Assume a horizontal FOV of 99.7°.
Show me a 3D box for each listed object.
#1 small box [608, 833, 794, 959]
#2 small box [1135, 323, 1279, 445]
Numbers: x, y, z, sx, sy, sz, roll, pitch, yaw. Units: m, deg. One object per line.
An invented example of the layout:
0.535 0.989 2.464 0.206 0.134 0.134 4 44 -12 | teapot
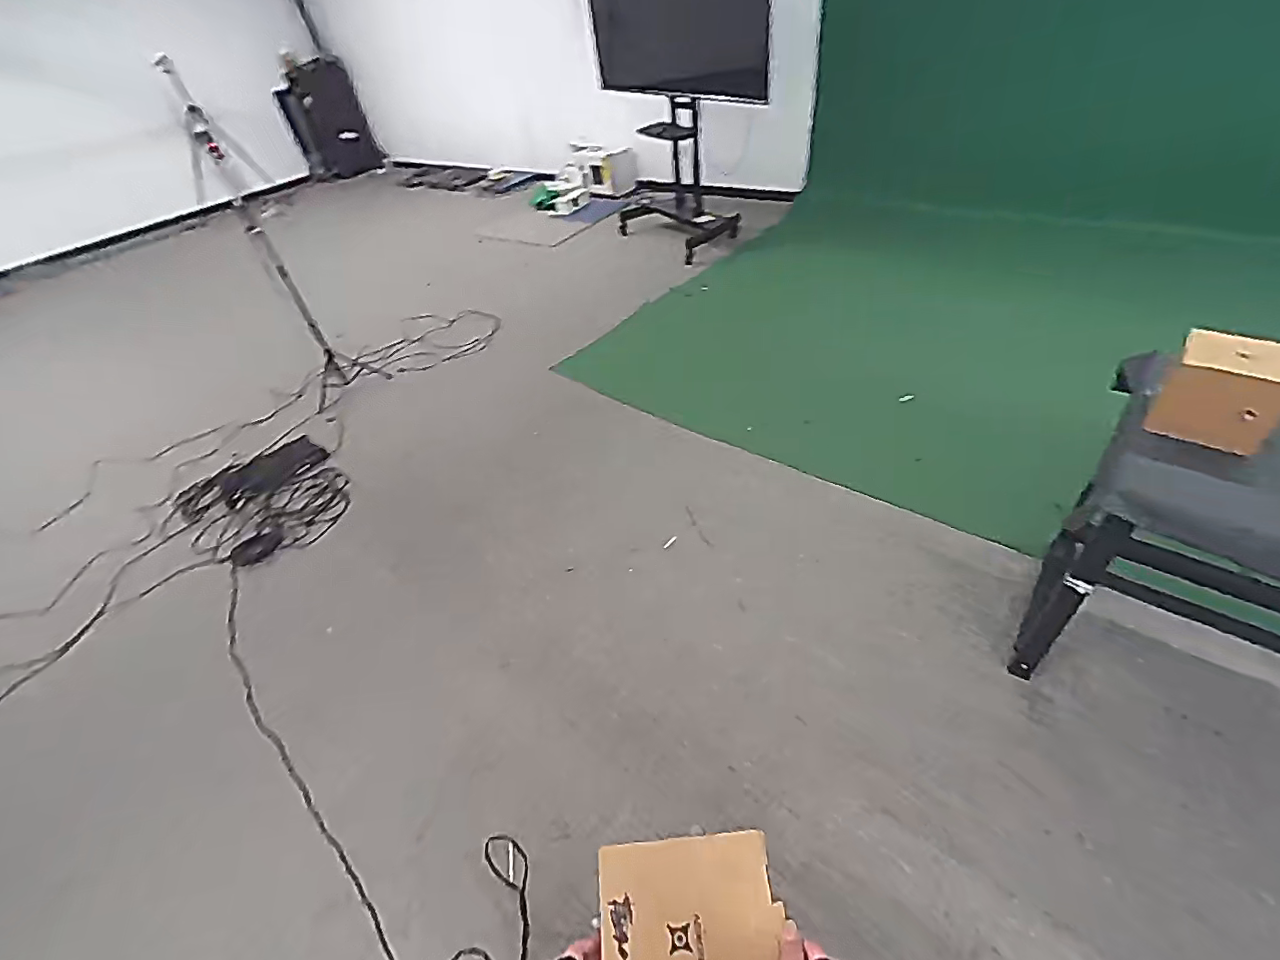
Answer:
0.069 0.490 0.586 0.179 0.176 0.168 -10 53 5 | small box
1.182 -0.195 1.114 0.179 0.176 0.168 28 52 34 | small box
